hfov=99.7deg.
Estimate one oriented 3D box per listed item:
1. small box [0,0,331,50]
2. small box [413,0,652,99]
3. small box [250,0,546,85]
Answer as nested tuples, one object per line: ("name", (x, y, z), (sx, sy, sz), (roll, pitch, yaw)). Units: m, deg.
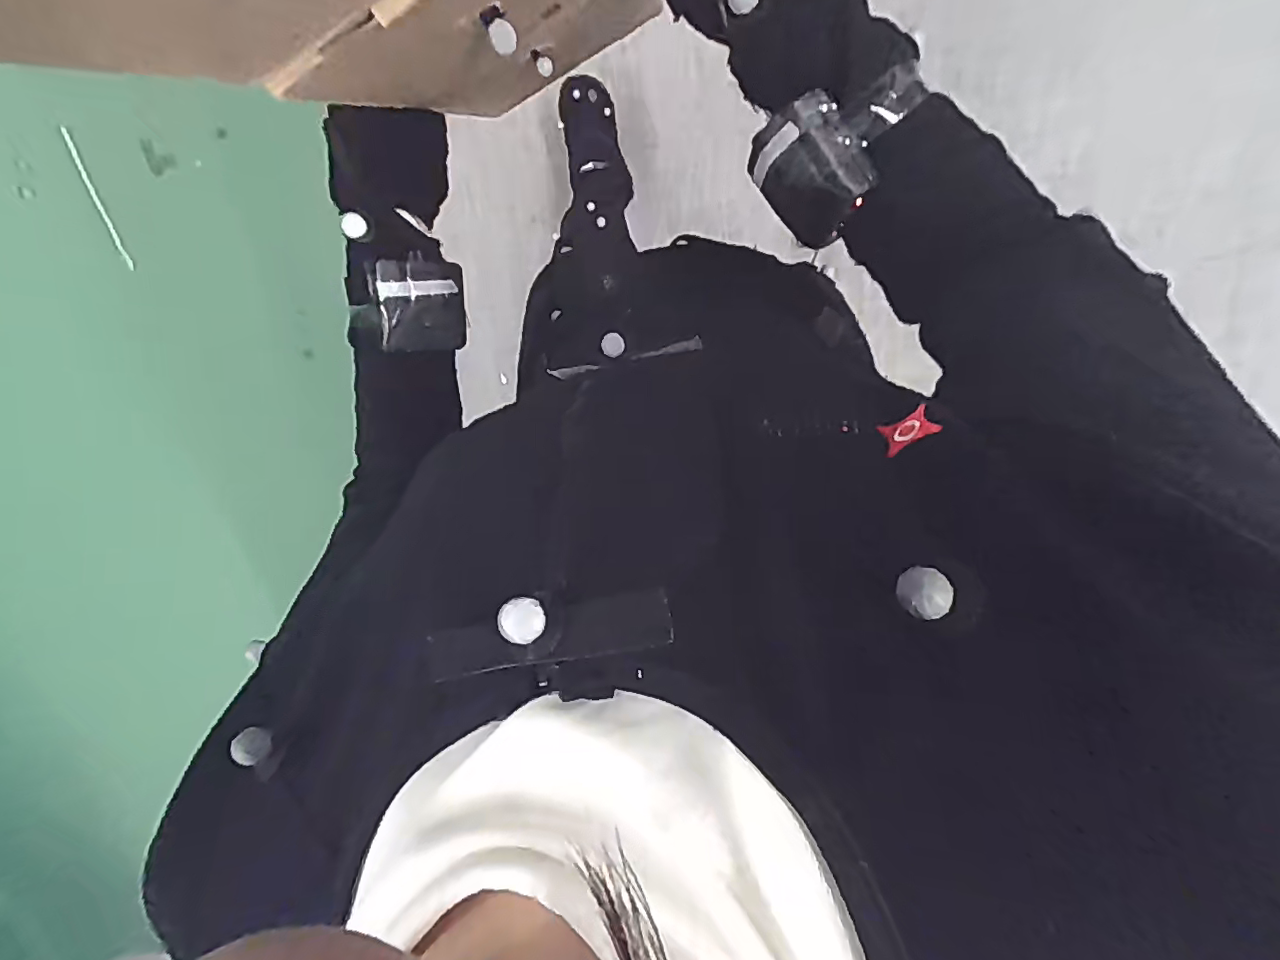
("small box", (-0.123, -0.214, 0.093), (0.179, 0.176, 0.168), (-16, 119, 18))
("small box", (-0.095, -0.391, 0.369), (0.179, 0.176, 0.168), (-20, 119, 17))
("small box", (-0.114, -0.305, 0.230), (0.168, 0.176, 0.179), (-20, 119, 19))
